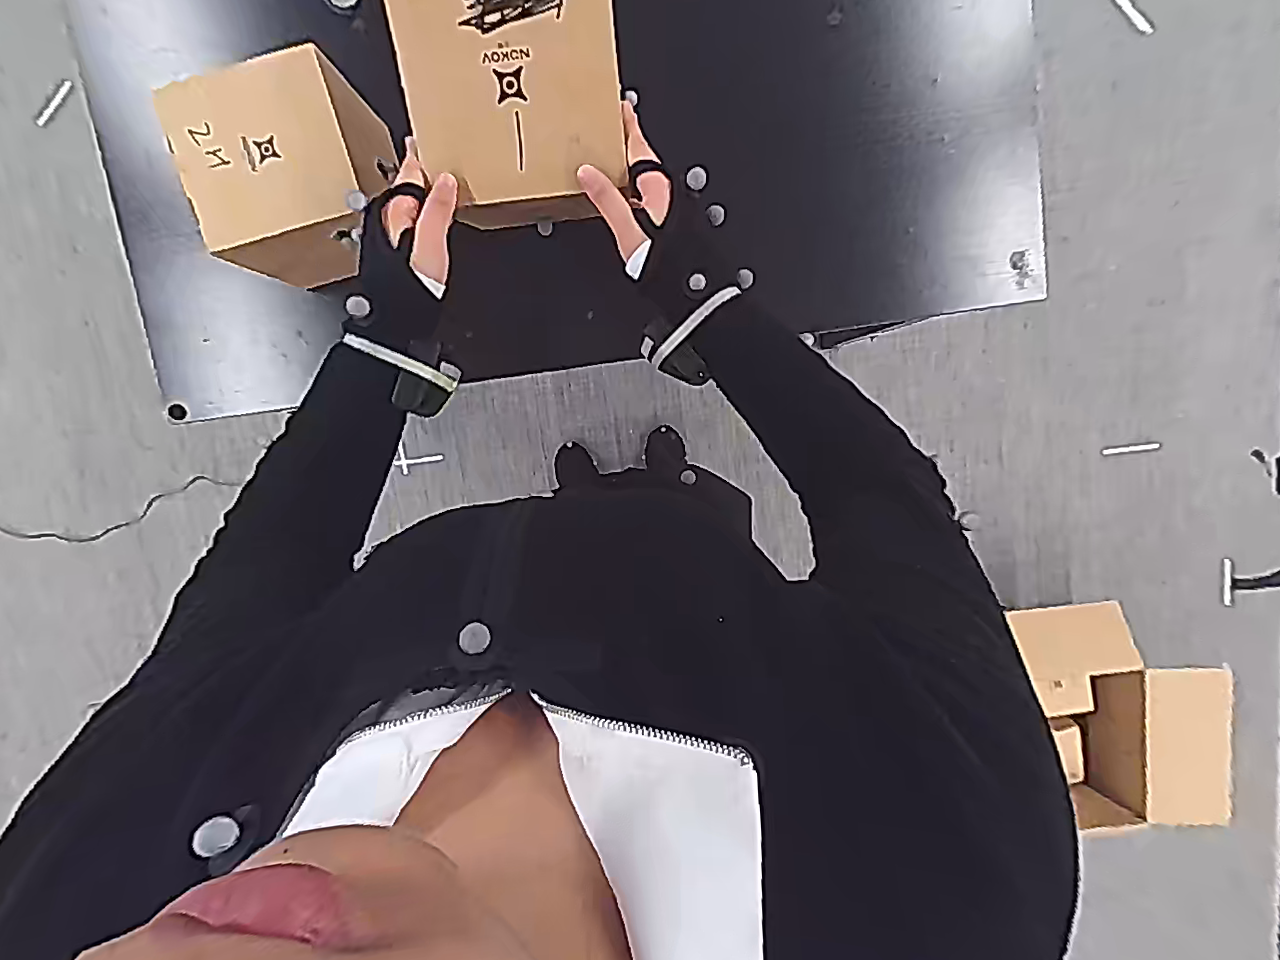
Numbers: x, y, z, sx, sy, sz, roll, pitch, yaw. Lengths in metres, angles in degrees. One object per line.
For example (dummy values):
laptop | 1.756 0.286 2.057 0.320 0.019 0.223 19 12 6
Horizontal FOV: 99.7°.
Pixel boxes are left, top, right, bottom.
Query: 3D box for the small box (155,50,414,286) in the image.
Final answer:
small box | -0.390 -0.346 0.635 0.179 0.176 0.168 -15 97 2

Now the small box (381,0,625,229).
small box | -0.103 -0.332 0.481 0.168 0.176 0.179 -6 111 1
